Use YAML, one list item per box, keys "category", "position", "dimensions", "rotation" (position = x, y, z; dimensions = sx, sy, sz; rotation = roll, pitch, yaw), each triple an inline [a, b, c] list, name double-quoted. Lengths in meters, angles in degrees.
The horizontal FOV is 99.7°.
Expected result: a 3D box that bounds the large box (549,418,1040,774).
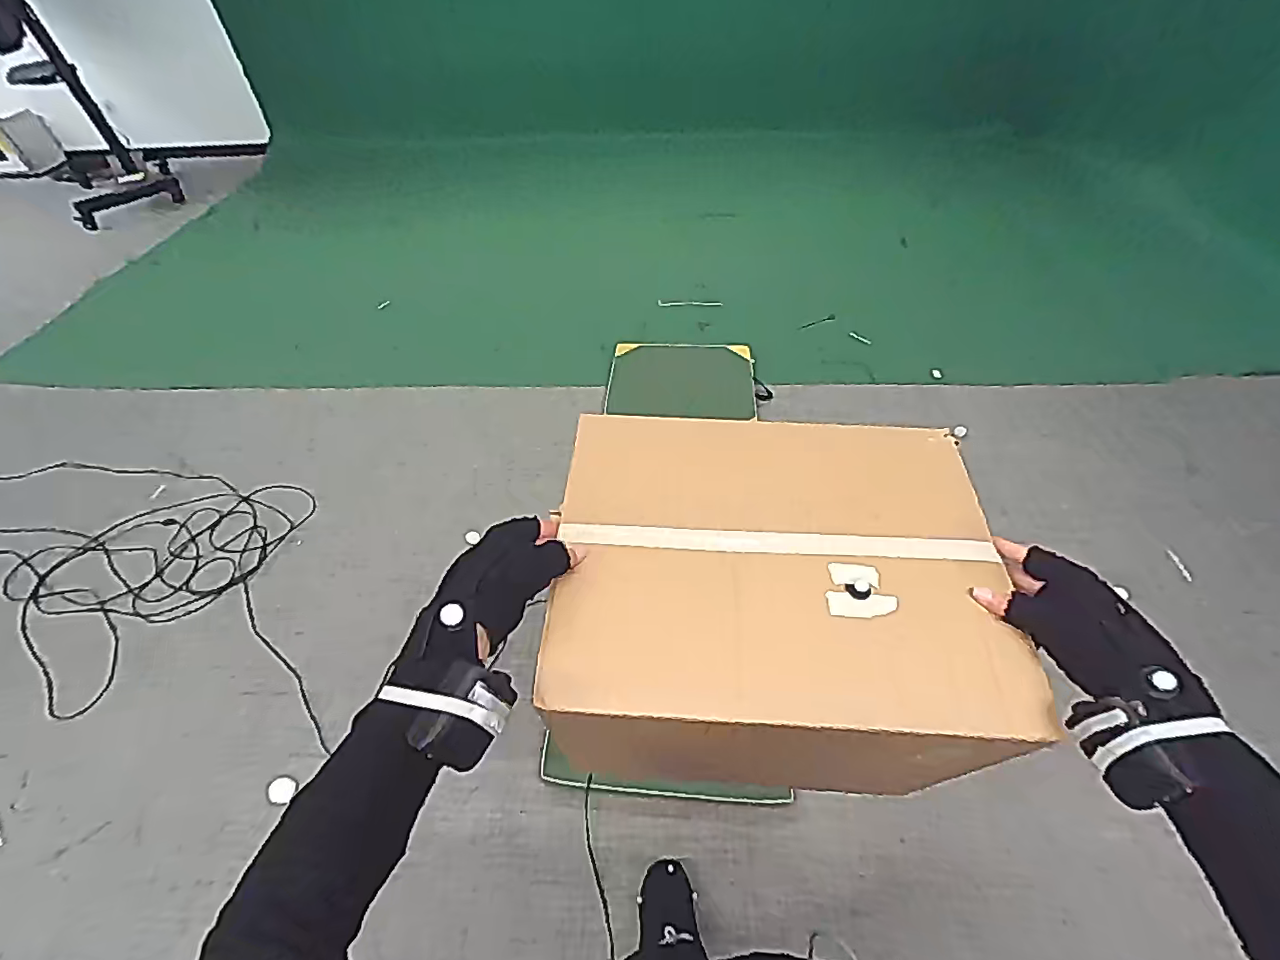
- category: "large box"
  position: [0.125, 0.147, 0.639]
  dimensions: [0.408, 0.320, 0.320]
  rotation: [3, 54, 1]
